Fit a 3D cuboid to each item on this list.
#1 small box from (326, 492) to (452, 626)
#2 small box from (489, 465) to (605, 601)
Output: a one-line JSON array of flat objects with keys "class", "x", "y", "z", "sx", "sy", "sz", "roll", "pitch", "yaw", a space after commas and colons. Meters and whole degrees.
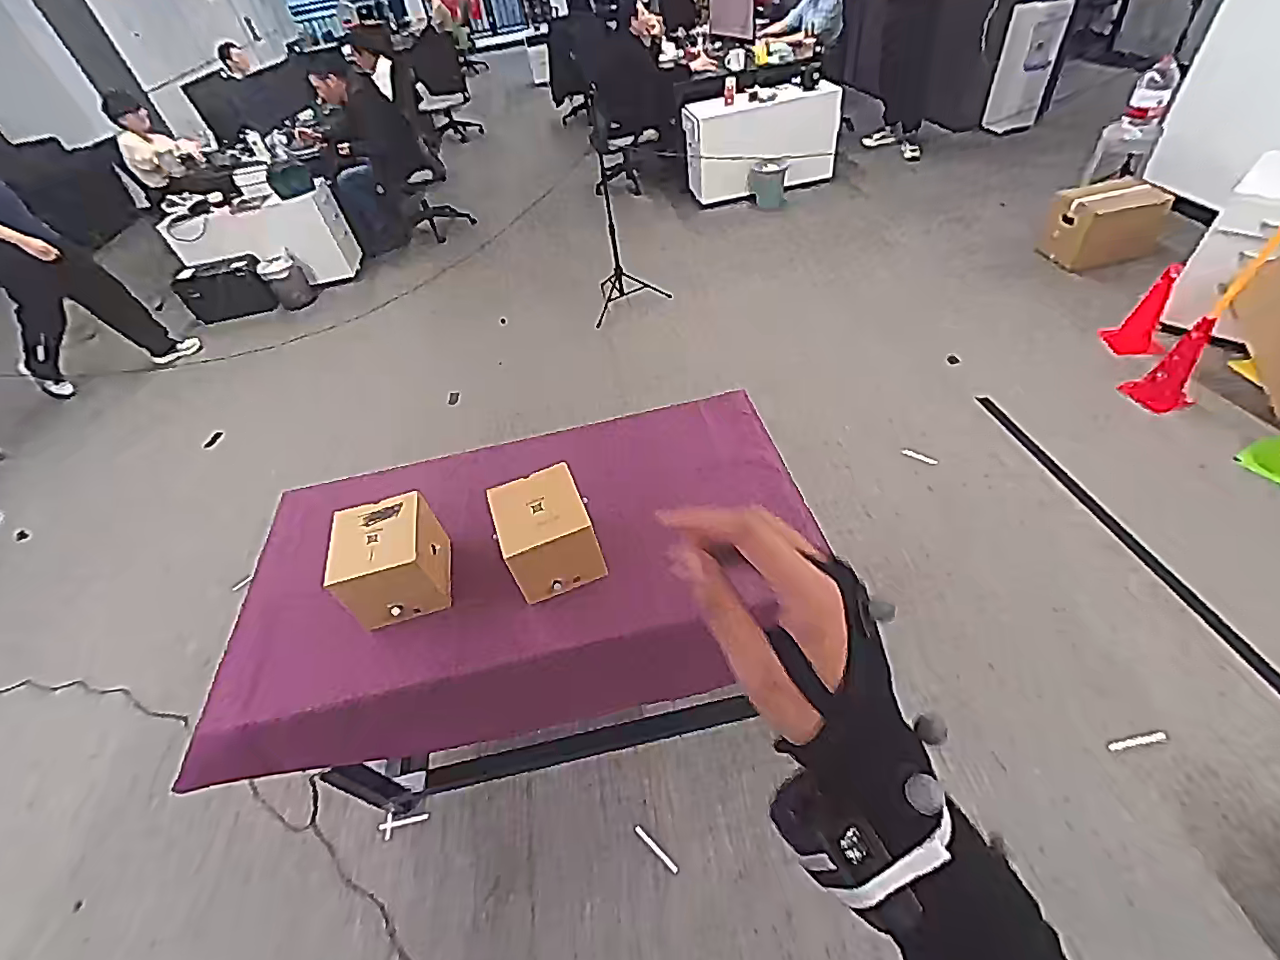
[{"class": "small box", "x": -0.482, "y": 0.157, "z": 1.066, "sx": 0.168, "sy": 0.176, "sz": 0.179, "roll": -16, "pitch": 47, "yaw": -5}, {"class": "small box", "x": -0.180, "y": 0.105, "z": 1.064, "sx": 0.168, "sy": 0.176, "sz": 0.179, "roll": -21, "pitch": 47, "yaw": -9}]
